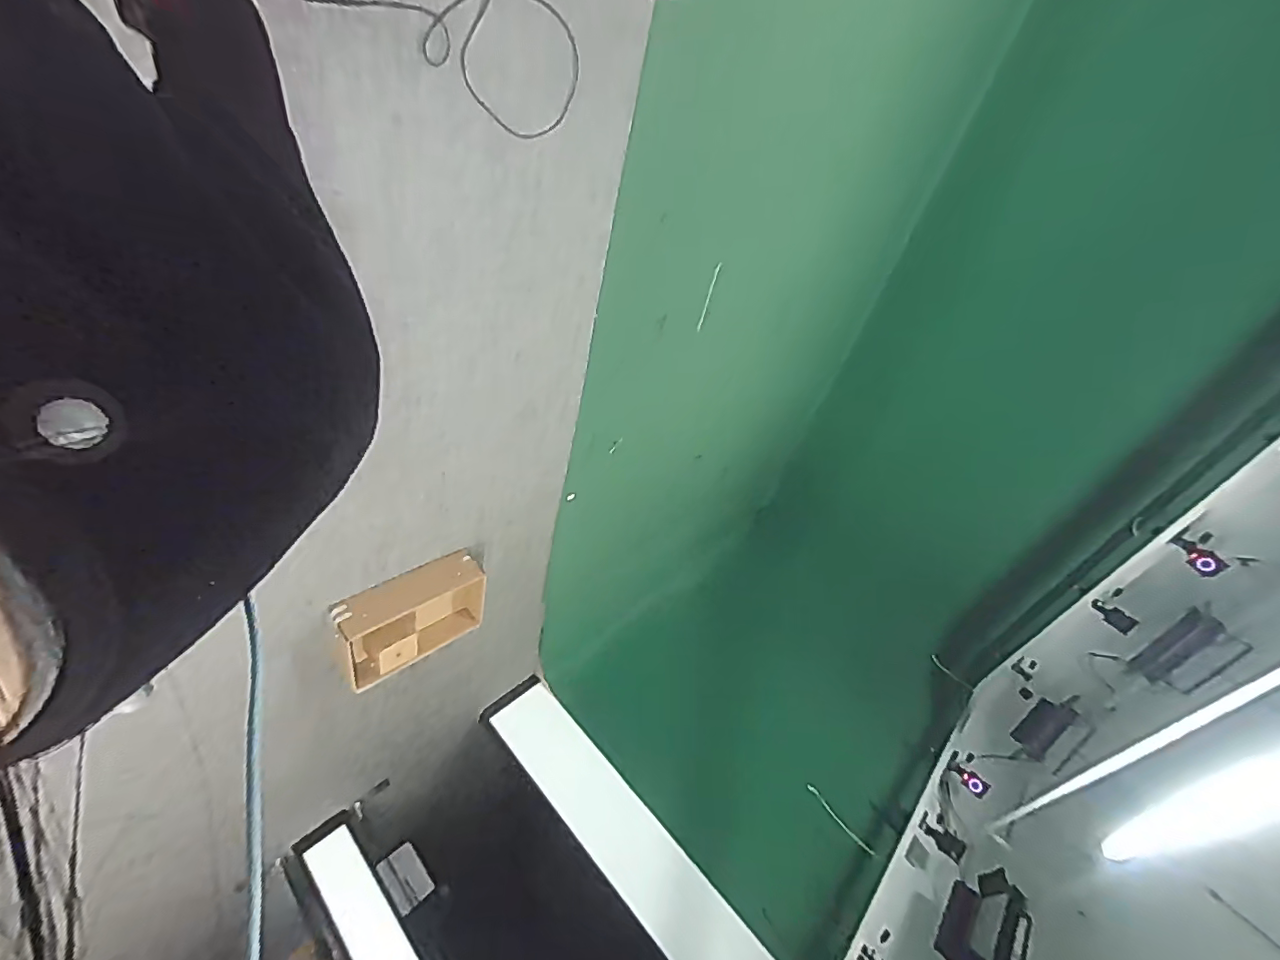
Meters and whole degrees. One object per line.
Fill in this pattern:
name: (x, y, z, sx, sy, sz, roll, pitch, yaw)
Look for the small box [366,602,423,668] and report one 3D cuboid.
small box: (-1.055, 0.662, 2.321, 0.168, 0.176, 0.179, -26, 144, -42)
